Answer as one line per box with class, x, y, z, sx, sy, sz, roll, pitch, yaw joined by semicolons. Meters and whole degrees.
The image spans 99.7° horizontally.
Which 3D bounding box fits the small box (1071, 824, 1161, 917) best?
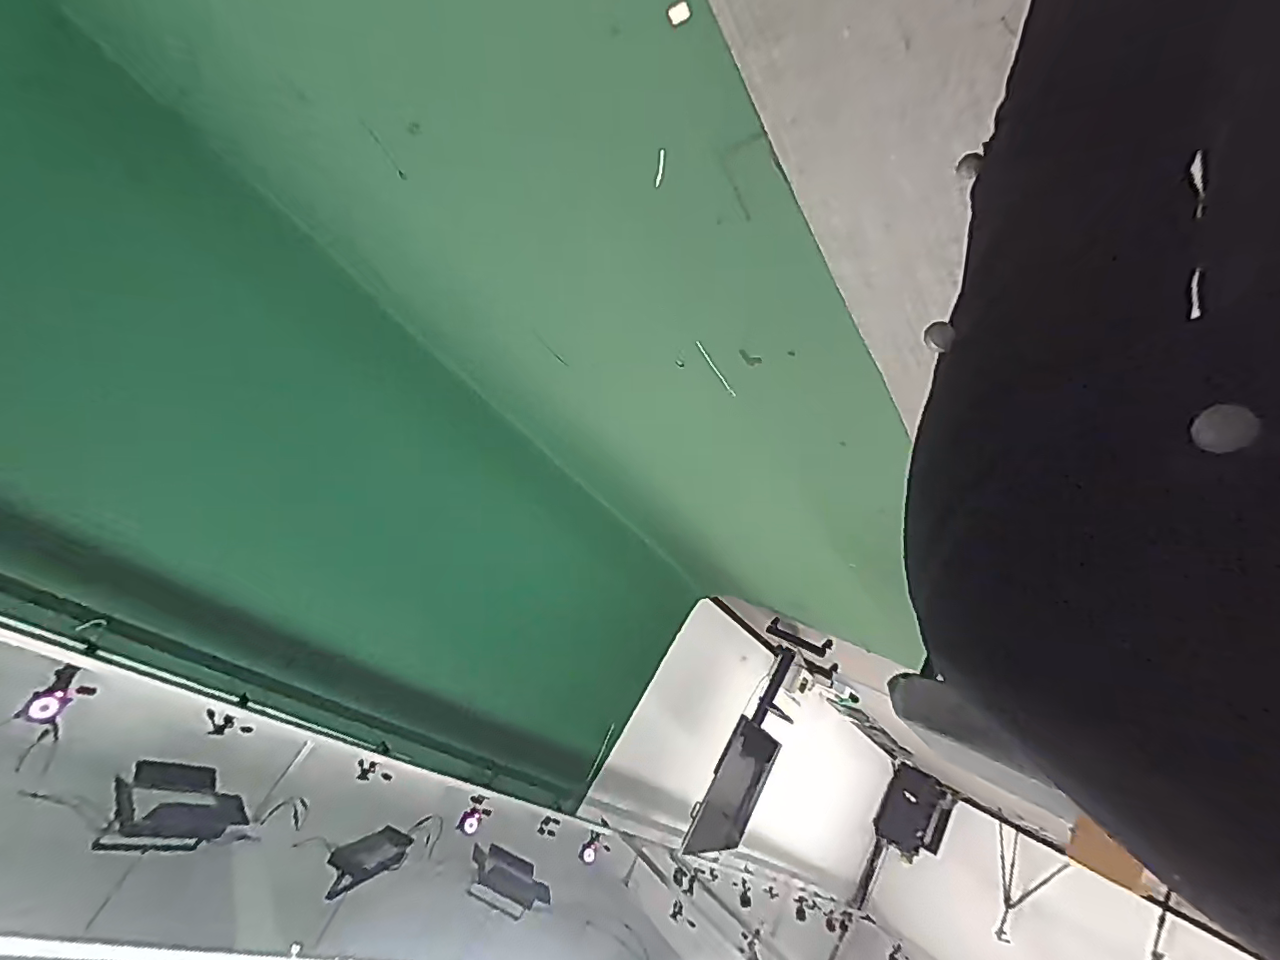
small box;1.483;1.205;1.685;0.179;0.176;0.168;13;155;49
